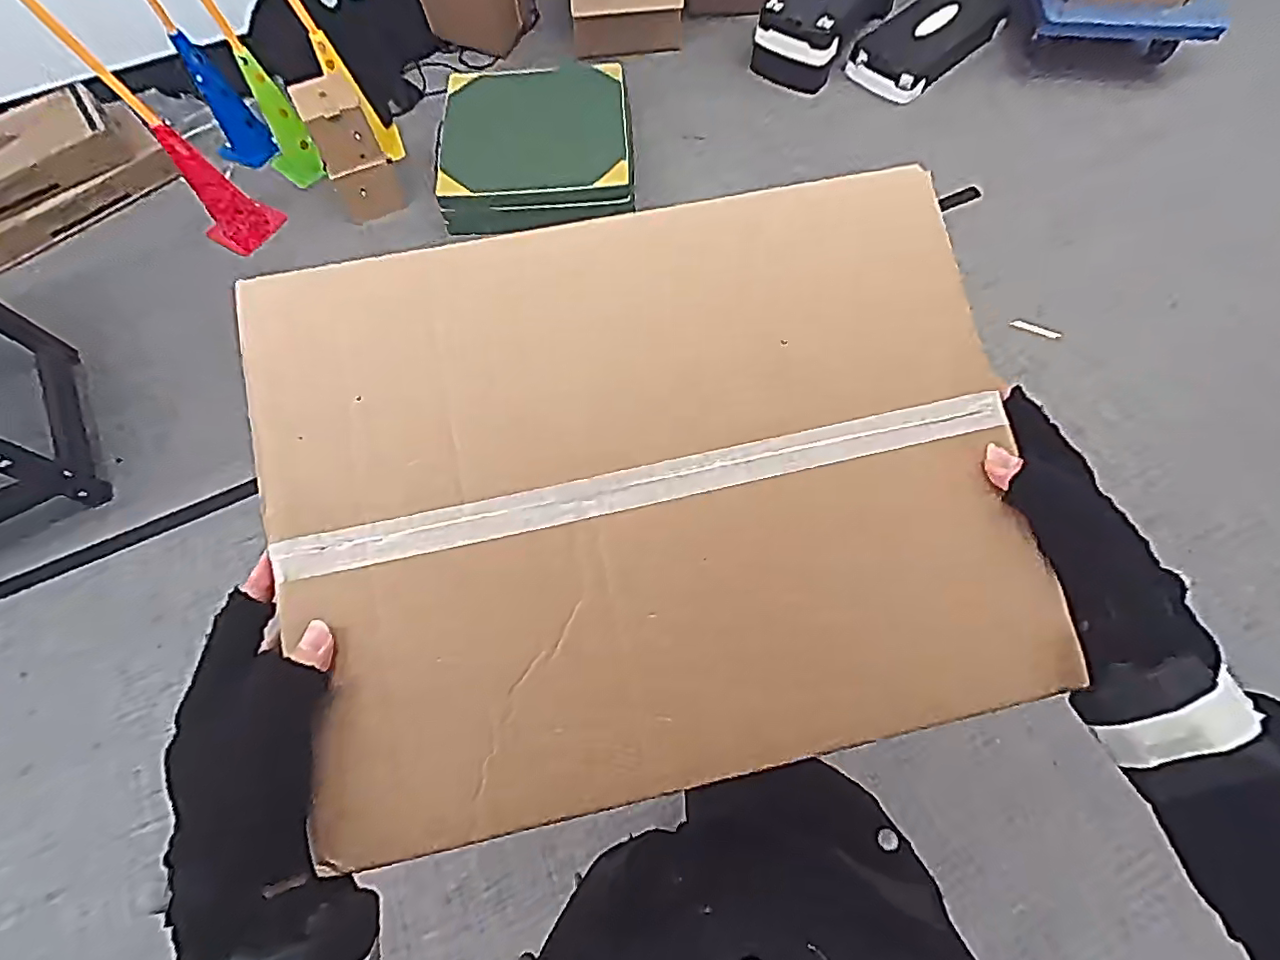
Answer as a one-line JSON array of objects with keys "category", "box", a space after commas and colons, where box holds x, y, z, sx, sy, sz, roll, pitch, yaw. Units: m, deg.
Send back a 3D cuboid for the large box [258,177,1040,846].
[{"category": "large box", "box": [-0.002, 0.016, 0.456, 0.408, 0.320, 0.320, -12, 82, -4]}]
